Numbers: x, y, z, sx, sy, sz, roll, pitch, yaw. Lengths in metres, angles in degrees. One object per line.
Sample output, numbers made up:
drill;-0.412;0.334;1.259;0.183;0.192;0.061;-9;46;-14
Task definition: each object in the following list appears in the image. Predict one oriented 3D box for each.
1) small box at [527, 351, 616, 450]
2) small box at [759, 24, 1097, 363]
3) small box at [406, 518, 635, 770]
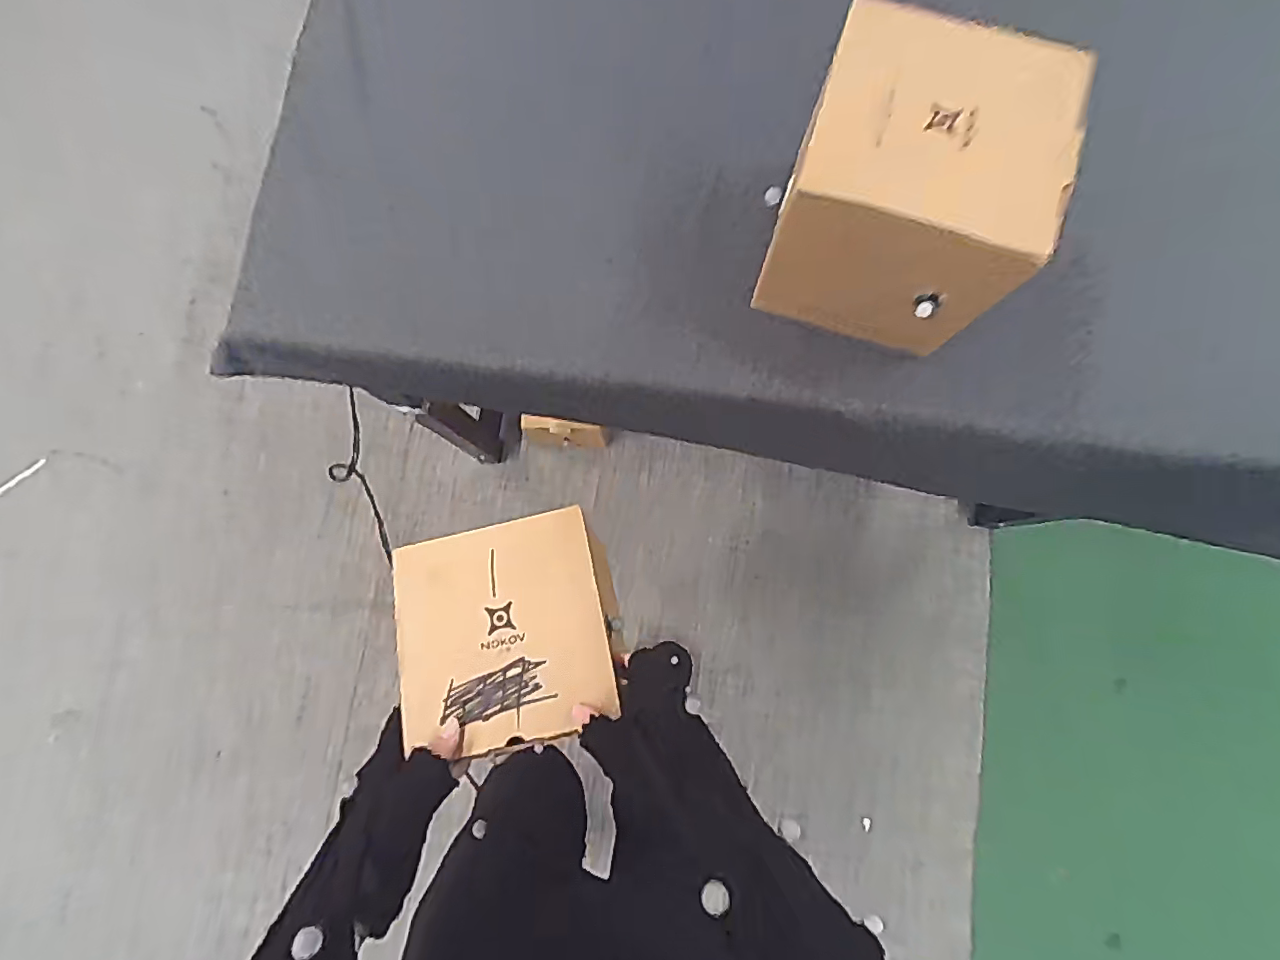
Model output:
small box;-0.143;-0.167;1.190;0.168;0.176;0.179;3;82;1
small box;0.218;-0.217;0.454;0.179;0.176;0.168;18;80;5
small box;-0.104;0.157;0.517;0.168;0.176;0.179;-12;66;-1
